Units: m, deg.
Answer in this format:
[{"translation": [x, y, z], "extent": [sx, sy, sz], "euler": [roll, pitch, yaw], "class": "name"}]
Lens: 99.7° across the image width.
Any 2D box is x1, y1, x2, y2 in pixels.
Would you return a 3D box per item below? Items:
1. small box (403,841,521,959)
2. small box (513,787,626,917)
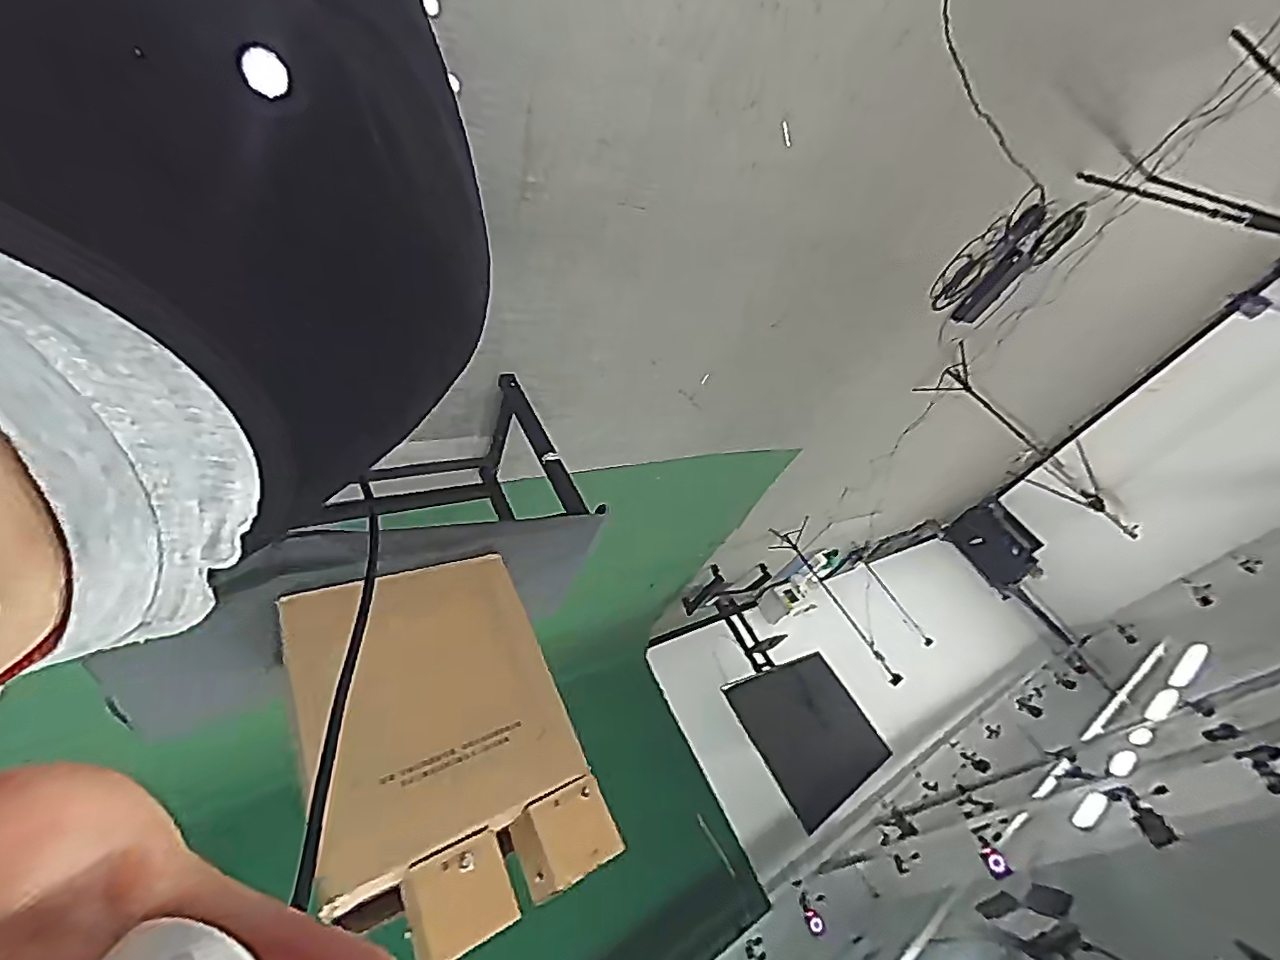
[{"translation": [-0.357, 0.848, 1.063], "extent": [0.168, 0.176, 0.179], "euler": [-9, 142, -36], "class": "small box"}, {"translation": [-0.164, 0.818, 1.202], "extent": [0.168, 0.176, 0.179], "euler": [-8, 143, -38], "class": "small box"}]
